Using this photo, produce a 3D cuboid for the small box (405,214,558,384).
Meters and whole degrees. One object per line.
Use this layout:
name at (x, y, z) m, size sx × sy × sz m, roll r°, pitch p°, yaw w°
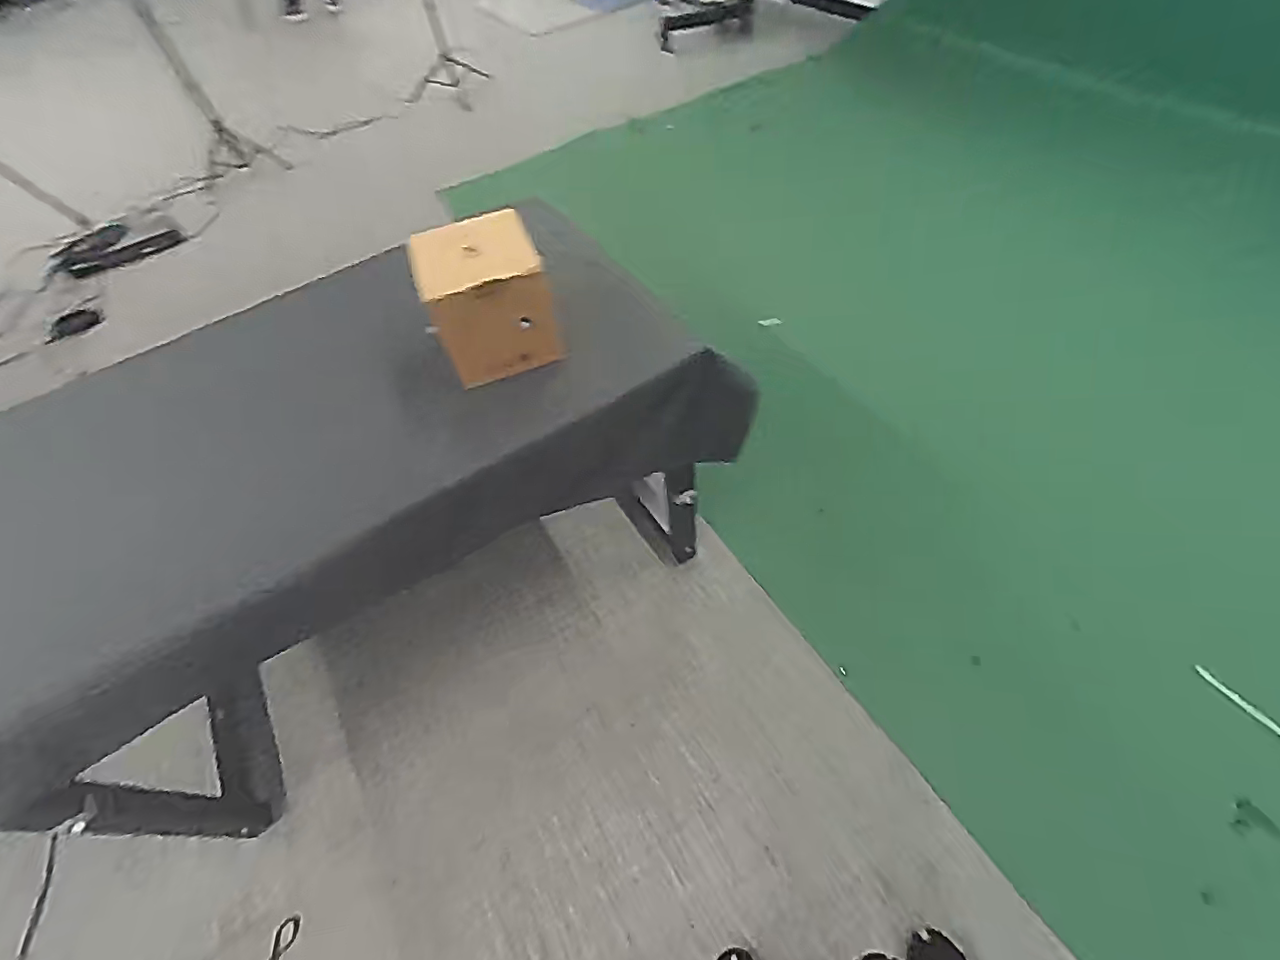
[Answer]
small box at (-0.237, -0.269, 0.832) m, size 0.168 × 0.176 × 0.179 m, roll -20°, pitch 54°, yaw -9°
